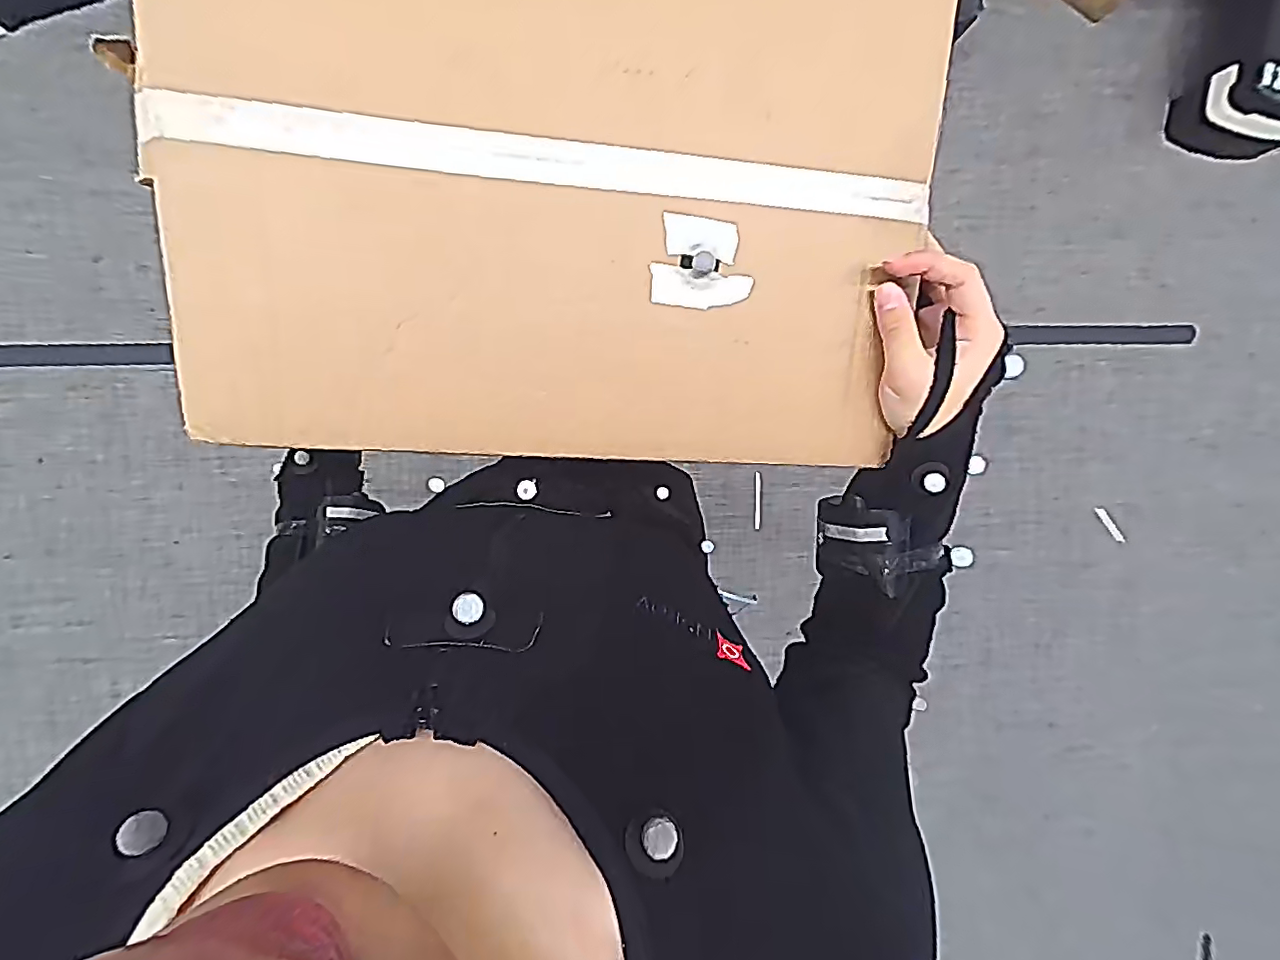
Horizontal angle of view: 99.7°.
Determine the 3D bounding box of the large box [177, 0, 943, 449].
[{"bbox_3d":[-0.053,-0.201,0.440,0.408,0.320,0.320,1,102,-11],"label":"large box"}]
